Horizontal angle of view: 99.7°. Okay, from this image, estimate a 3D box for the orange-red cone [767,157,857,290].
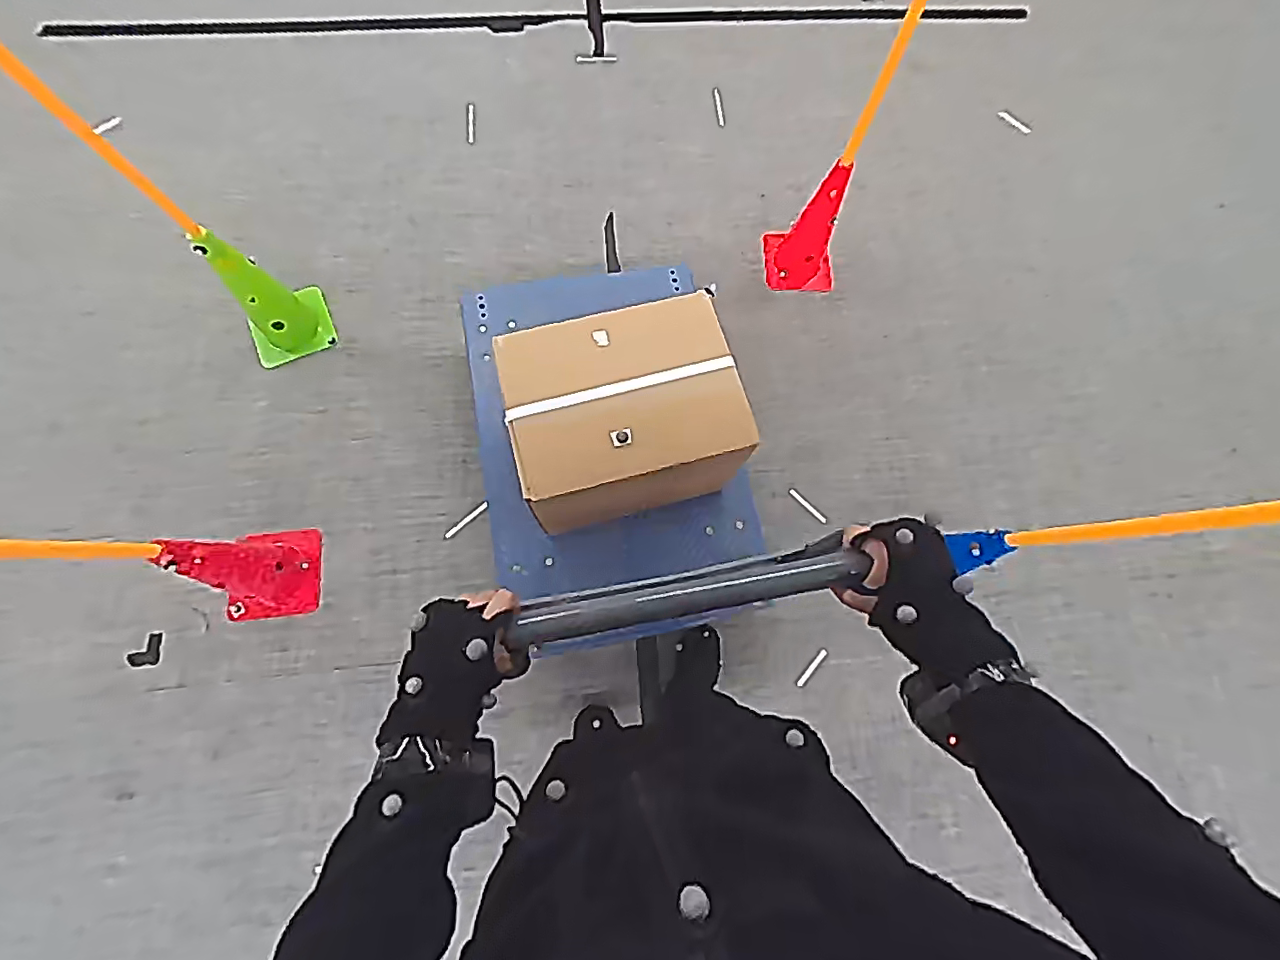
[{"bbox_3d":[0.486,-0.699,1.441,0.199,0.360,0.198,2,74,-4],"label":"orange-red cone"}]

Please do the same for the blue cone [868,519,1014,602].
[{"bbox_3d":[0.697,0.157,1.214,0.193,0.380,0.192,-8,73,-6],"label":"blue cone"}]
